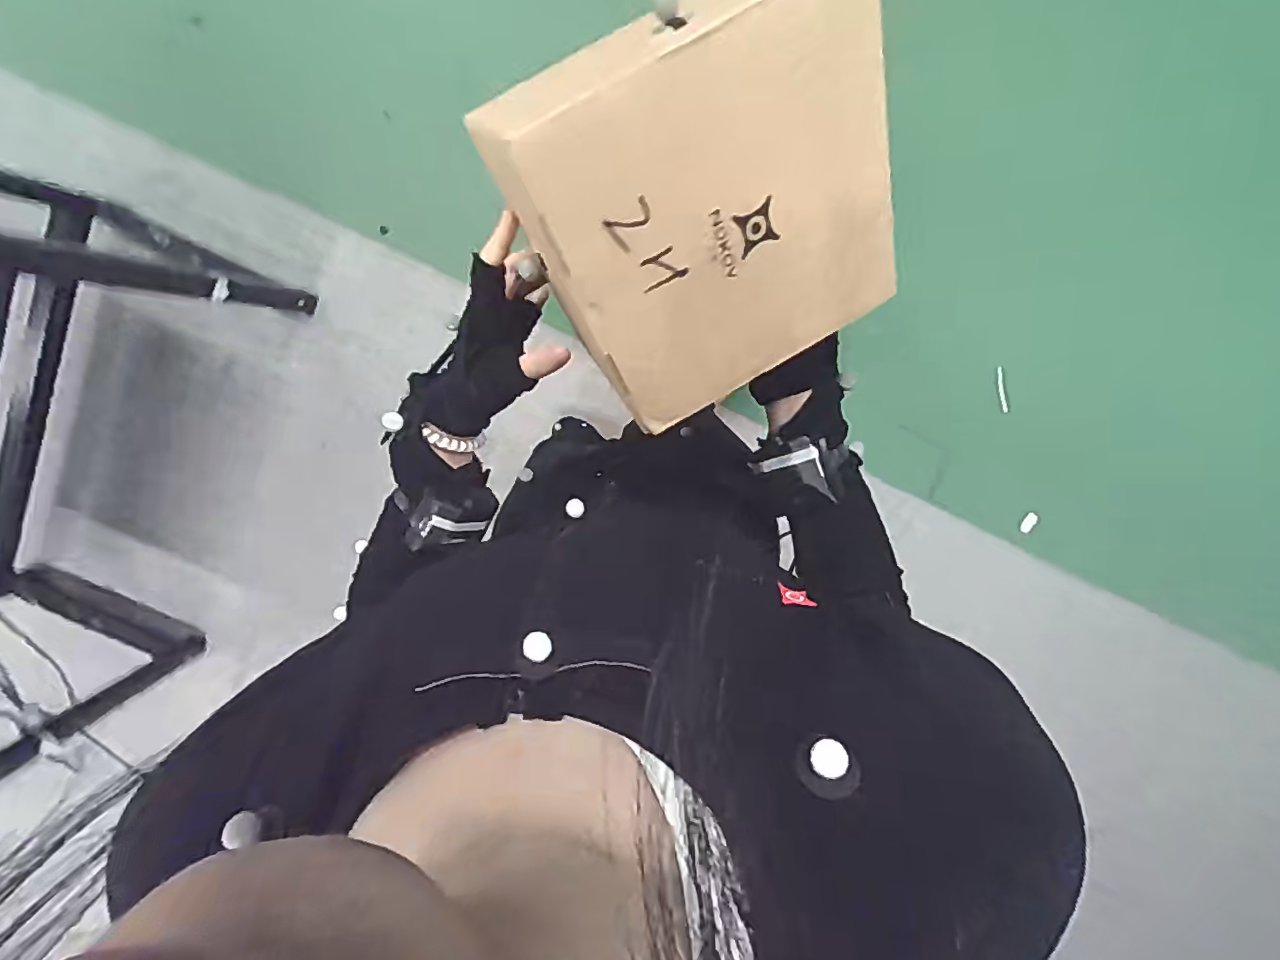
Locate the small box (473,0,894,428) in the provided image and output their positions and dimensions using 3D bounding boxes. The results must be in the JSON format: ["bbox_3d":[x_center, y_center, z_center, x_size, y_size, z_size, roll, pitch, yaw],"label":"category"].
[{"bbox_3d":[0.021,-0.170,0.329,0.179,0.176,0.168,-31,130,-2],"label":"small box"}]
